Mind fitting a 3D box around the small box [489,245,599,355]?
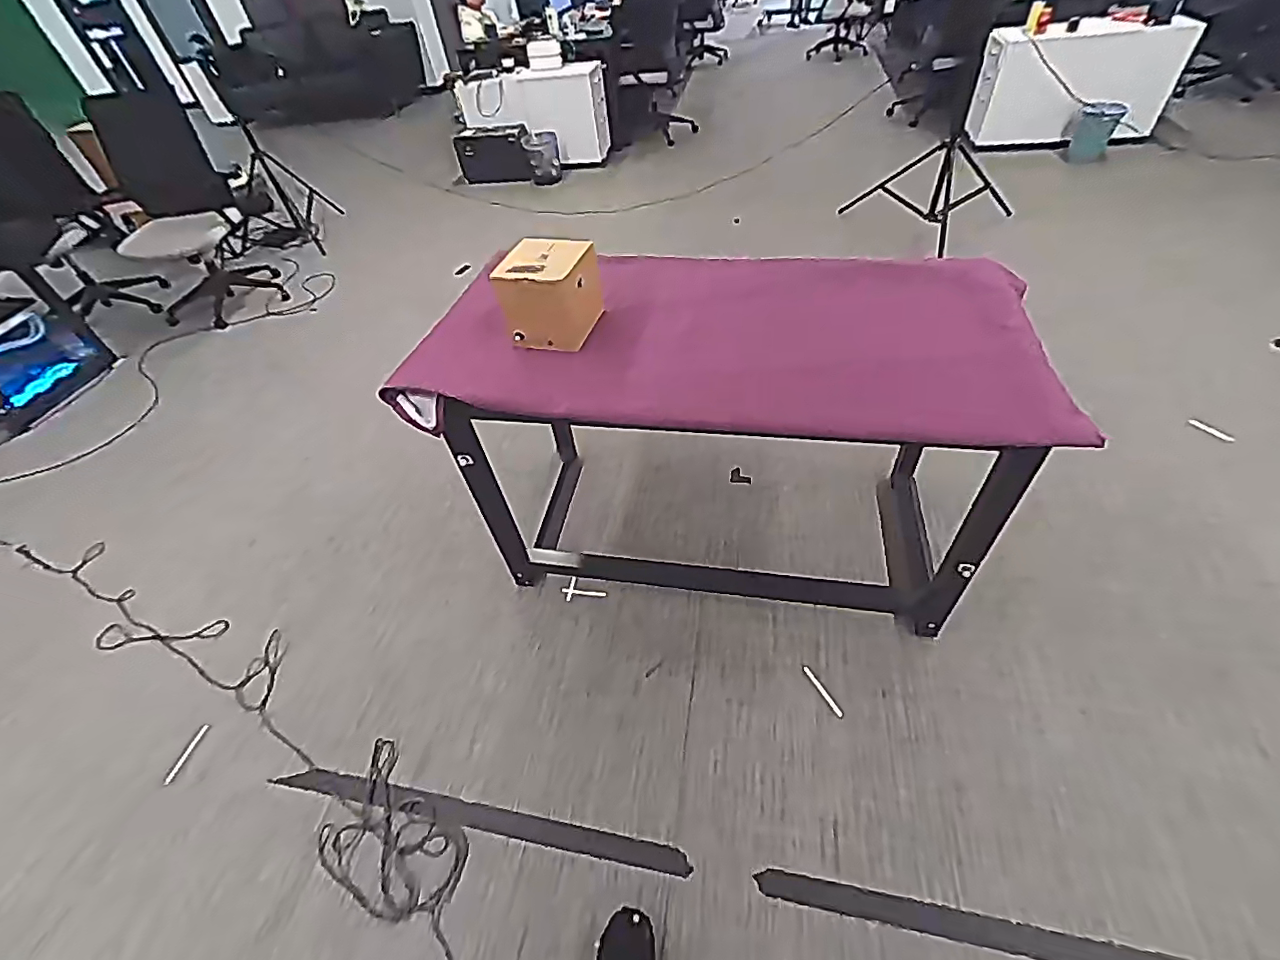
[{"bbox_3d":[-0.198,-0.393,1.185,0.168,0.176,0.179,9,49,15],"label":"small box"}]
